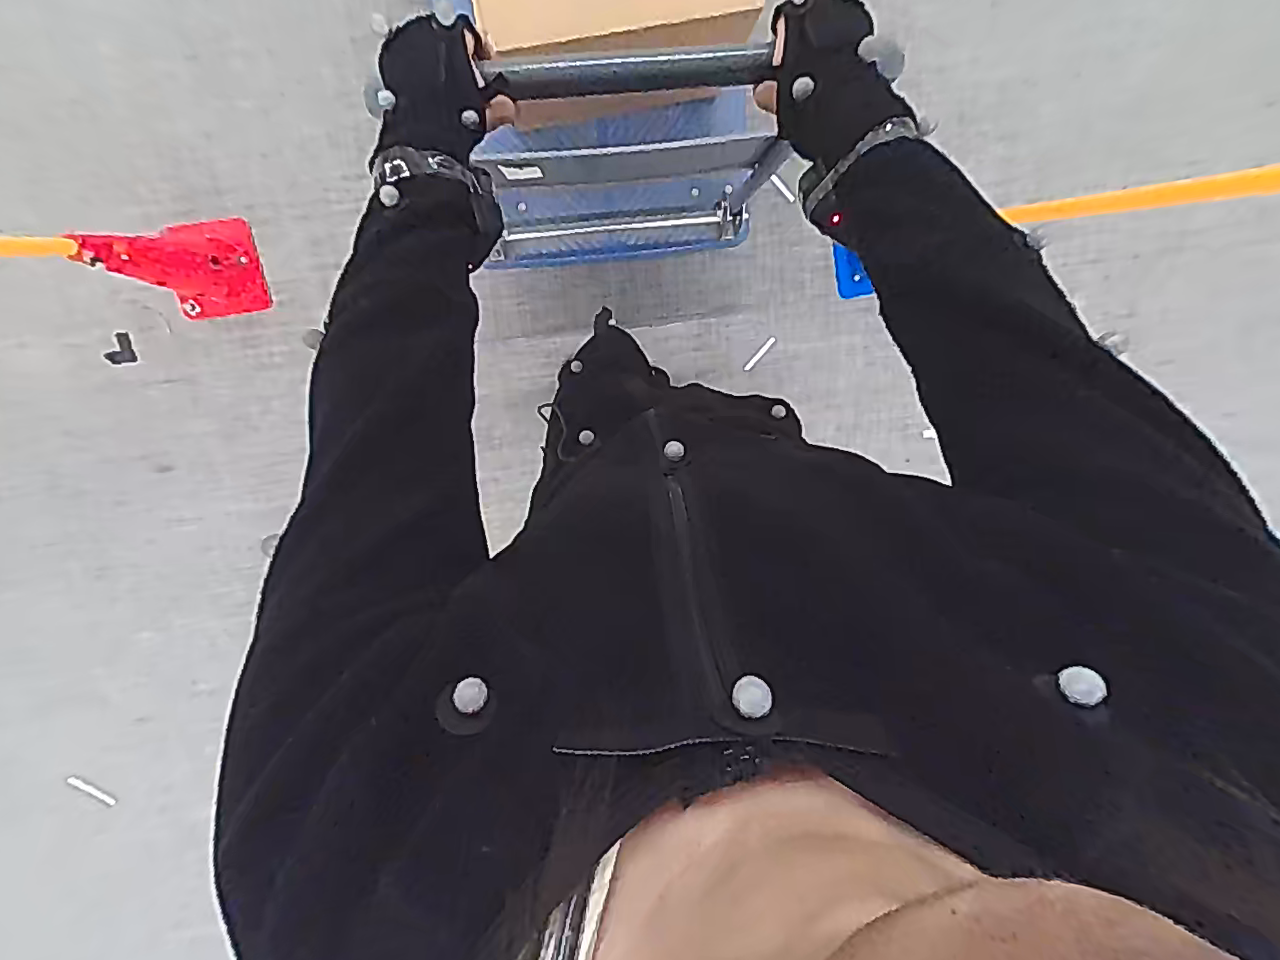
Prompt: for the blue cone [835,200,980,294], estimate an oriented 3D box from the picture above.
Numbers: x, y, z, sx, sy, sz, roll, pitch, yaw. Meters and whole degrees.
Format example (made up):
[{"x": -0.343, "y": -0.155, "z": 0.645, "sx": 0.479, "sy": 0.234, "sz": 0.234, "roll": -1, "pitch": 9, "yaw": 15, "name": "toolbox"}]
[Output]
[{"x": 0.592, "y": -0.526, "z": 1.167, "sx": 0.193, "sy": 0.380, "sz": 0.192, "roll": -11, "pitch": 105, "yaw": -2, "name": "blue cone"}]
